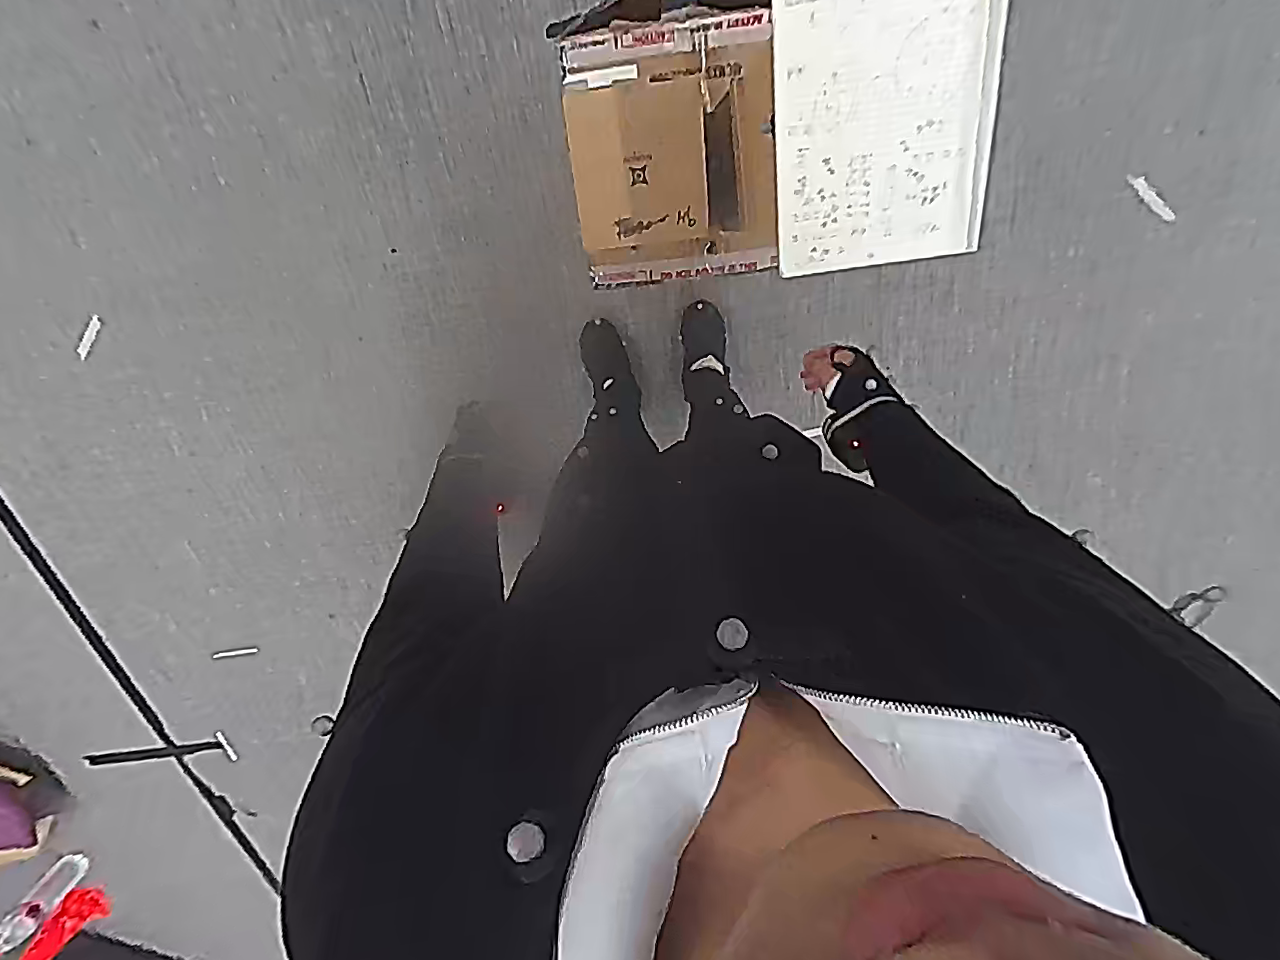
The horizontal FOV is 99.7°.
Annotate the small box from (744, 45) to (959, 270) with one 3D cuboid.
[{"bbox_3d":[0.214,-0.337,0.594,0.168,0.176,0.179,-8,115,1],"label":"small box"}]
